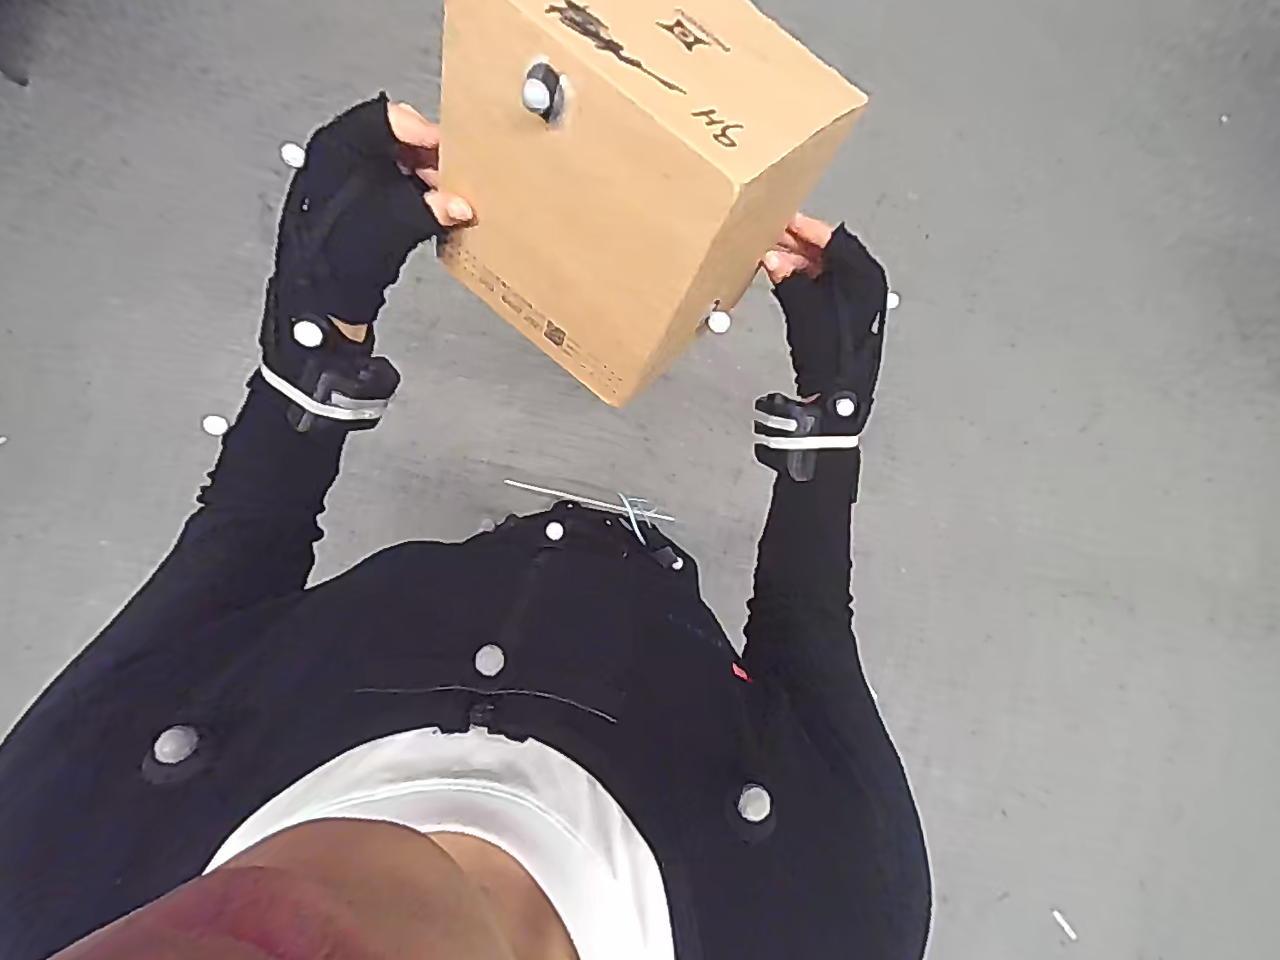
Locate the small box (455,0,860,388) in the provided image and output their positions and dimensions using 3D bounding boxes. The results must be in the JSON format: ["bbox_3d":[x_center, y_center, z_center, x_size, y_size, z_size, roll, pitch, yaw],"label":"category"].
[{"bbox_3d":[0.000,-0.196,0.349,0.168,0.176,0.179,40,55,3],"label":"small box"}]
